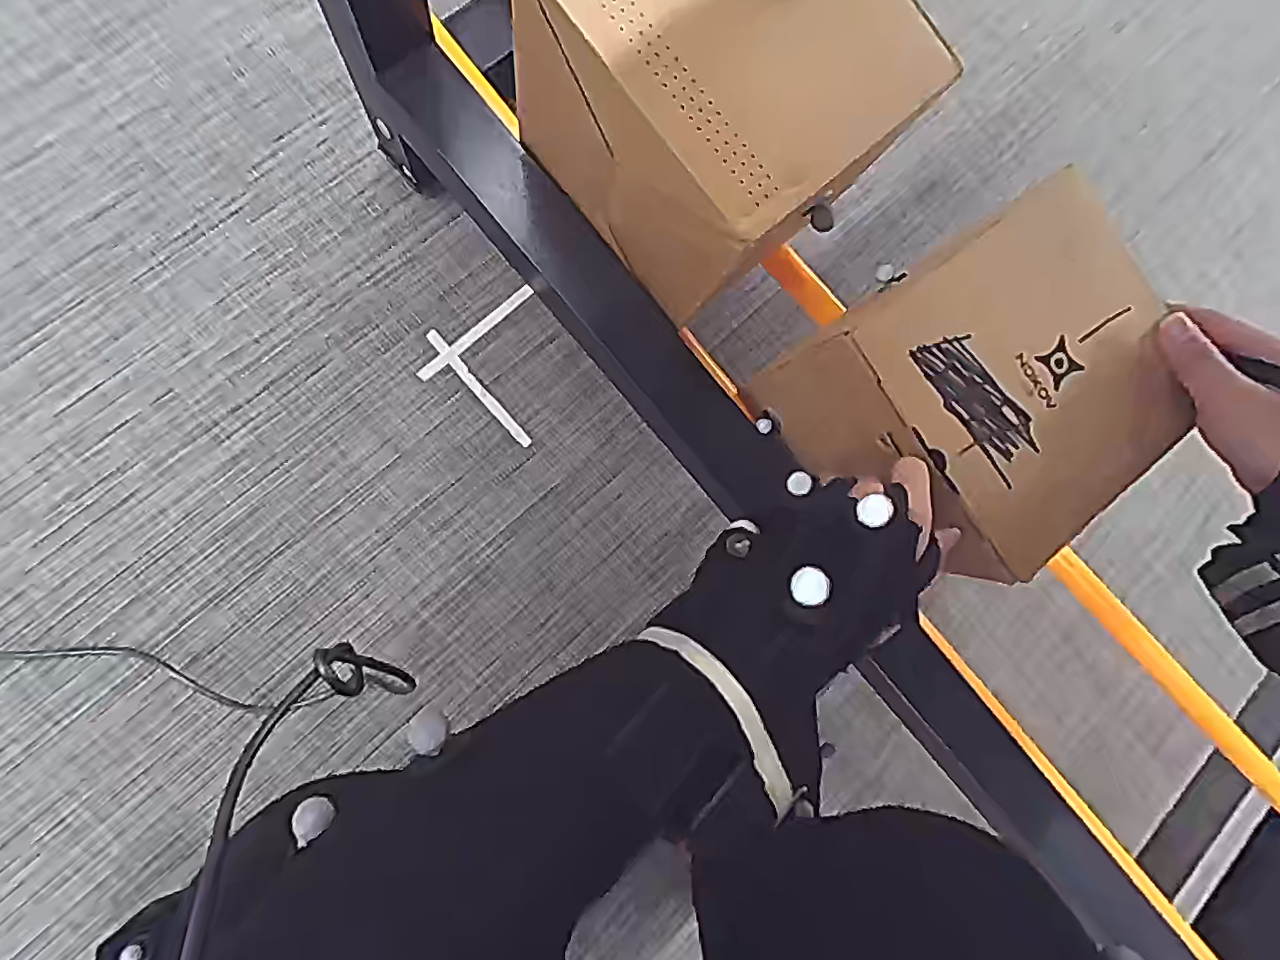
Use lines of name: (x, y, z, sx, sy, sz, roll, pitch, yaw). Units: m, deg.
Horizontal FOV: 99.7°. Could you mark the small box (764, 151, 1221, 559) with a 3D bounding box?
small box: (0.209, -0.067, 0.373, 0.179, 0.176, 0.168, -36, 95, -10)
